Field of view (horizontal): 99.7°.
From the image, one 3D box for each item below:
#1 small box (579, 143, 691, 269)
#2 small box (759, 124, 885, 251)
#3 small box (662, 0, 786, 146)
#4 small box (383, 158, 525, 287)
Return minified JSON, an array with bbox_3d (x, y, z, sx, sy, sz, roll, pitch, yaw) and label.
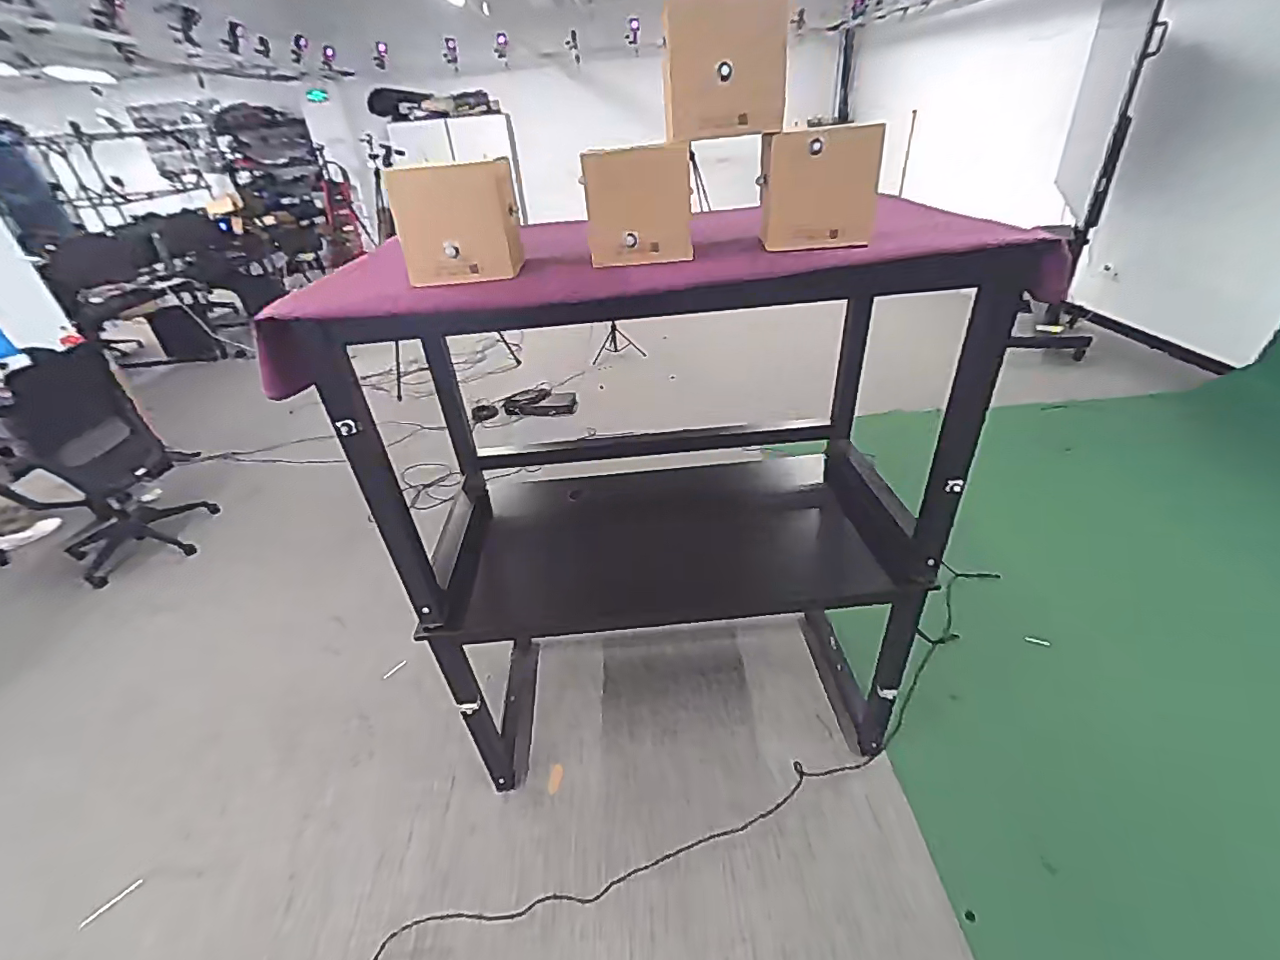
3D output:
[{"bbox_3d":[-0.003,-0.461,0.910,0.168,0.176,0.179,-4,33,3],"label":"small box"},{"bbox_3d":[0.290,-0.486,0.904,0.168,0.176,0.179,-2,32,8],"label":"small box"},{"bbox_3d":[0.122,-0.615,0.824,0.168,0.176,0.179,-4,33,3],"label":"small box"},{"bbox_3d":[-0.291,-0.426,0.892,0.168,0.176,0.179,-6,34,-1],"label":"small box"}]
